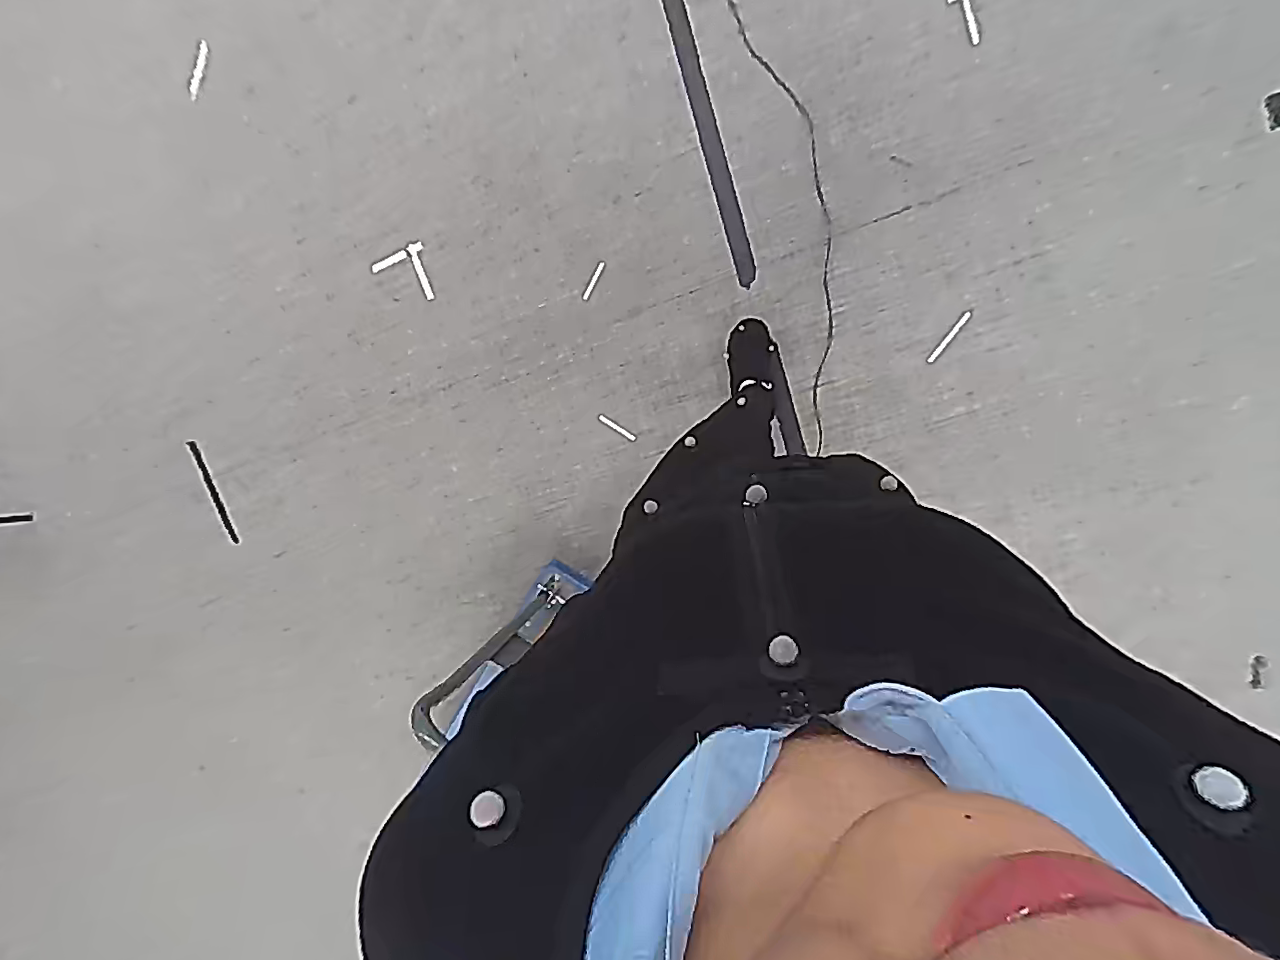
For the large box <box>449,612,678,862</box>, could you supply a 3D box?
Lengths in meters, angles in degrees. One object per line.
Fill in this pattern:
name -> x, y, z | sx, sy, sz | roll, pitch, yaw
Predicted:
large box -> -0.167, 0.602, 1.328 | 0.408, 0.320, 0.320 | 33, 104, 5
